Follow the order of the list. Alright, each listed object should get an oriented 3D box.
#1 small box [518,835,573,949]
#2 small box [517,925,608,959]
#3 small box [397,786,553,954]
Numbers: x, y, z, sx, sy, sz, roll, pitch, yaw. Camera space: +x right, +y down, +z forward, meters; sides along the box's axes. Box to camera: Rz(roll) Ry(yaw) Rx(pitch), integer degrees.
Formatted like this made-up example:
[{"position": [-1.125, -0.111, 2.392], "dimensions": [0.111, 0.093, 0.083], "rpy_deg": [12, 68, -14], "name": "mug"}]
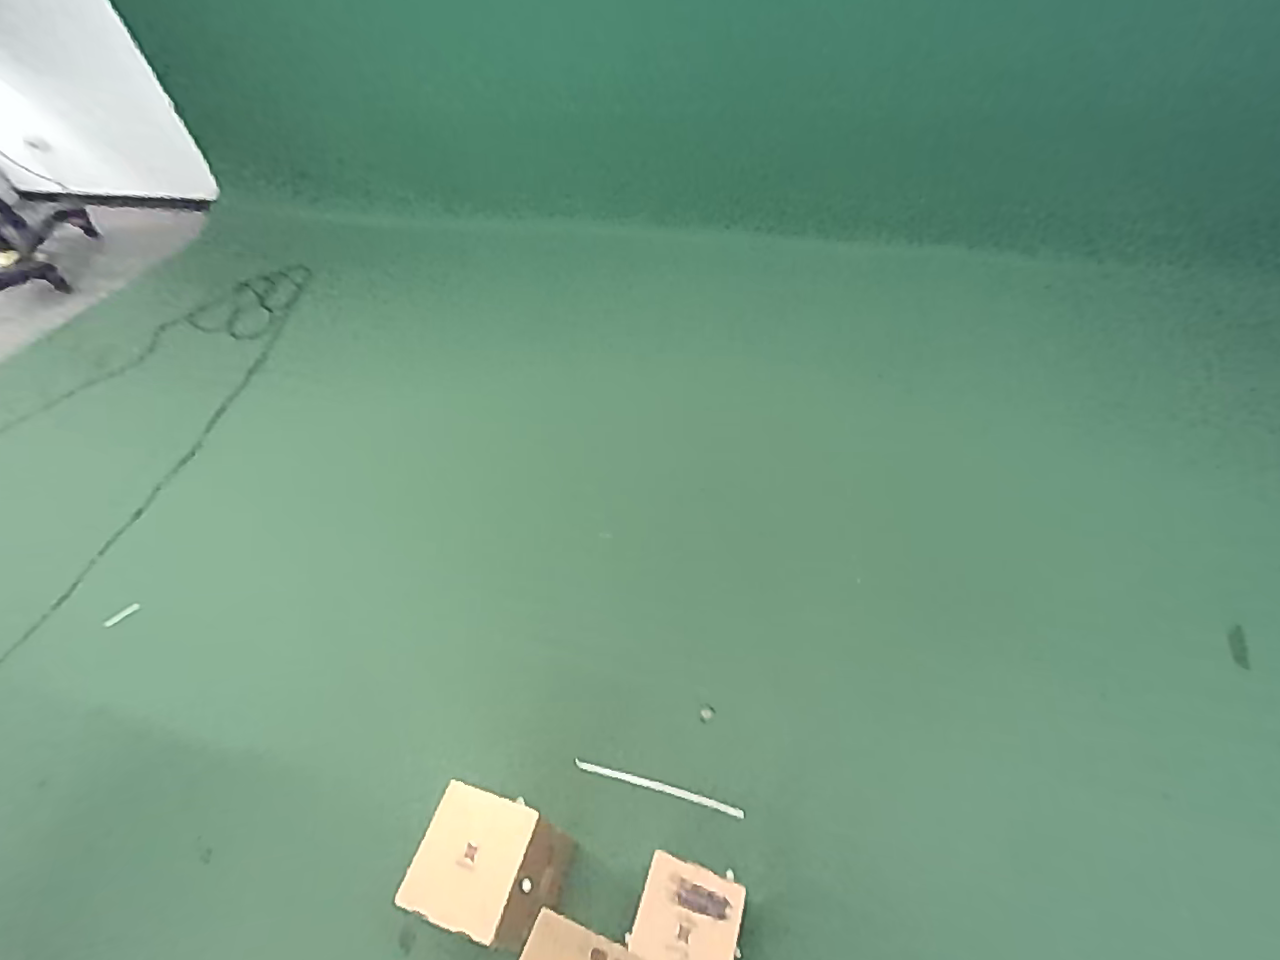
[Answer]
[{"position": [-0.243, 0.749, 1.020], "dimensions": [0.179, 0.176, 0.168], "rpy_deg": [10, 51, 16], "name": "small box"}, {"position": [-0.059, 0.492, 0.394], "dimensions": [0.168, 0.176, 0.179], "rpy_deg": [21, 92, 9], "name": "small box"}, {"position": [-0.256, 0.644, 0.896], "dimensions": [0.168, 0.176, 0.179], "rpy_deg": [11, 51, 15], "name": "small box"}]
